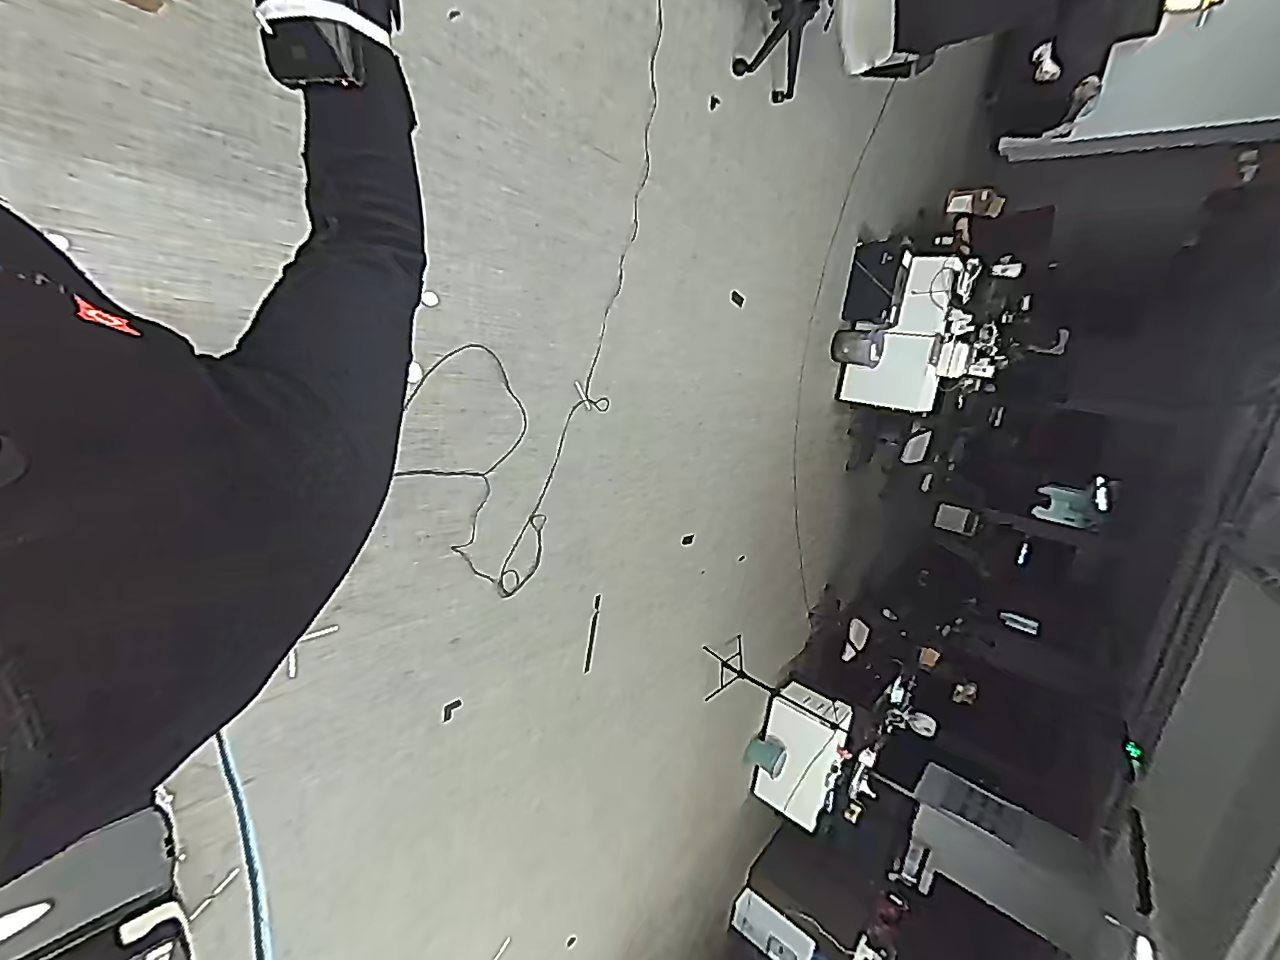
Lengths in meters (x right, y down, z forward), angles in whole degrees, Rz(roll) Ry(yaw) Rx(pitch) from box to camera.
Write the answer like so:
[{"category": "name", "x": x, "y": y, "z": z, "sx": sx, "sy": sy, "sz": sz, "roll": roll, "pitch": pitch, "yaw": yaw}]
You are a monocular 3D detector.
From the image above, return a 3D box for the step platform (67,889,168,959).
[{"category": "step platform", "x": -1.403, "y": 1.205, "z": 1.092, "sx": 0.684, "sy": 0.204, "sz": 0.286, "roll": -11, "pitch": 113, "yaw": -48}]
